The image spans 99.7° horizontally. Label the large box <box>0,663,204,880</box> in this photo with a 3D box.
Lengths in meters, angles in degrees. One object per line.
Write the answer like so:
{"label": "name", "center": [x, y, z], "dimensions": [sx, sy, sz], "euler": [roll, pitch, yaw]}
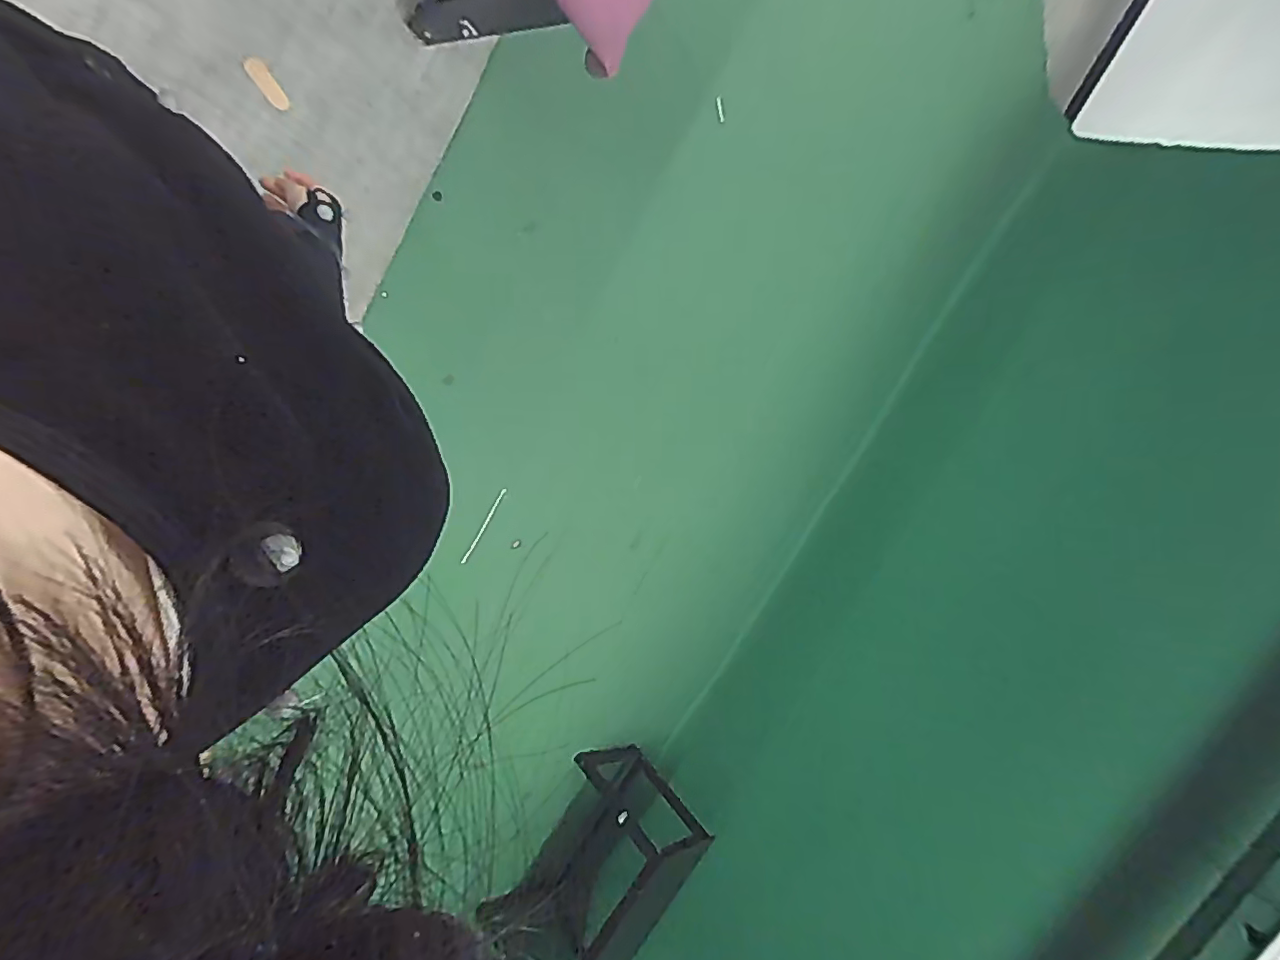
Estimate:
{"label": "large box", "center": [-1.347, 0.703, 1.311], "dimensions": [0.408, 0.320, 0.320], "euler": [1, 117, -47]}
